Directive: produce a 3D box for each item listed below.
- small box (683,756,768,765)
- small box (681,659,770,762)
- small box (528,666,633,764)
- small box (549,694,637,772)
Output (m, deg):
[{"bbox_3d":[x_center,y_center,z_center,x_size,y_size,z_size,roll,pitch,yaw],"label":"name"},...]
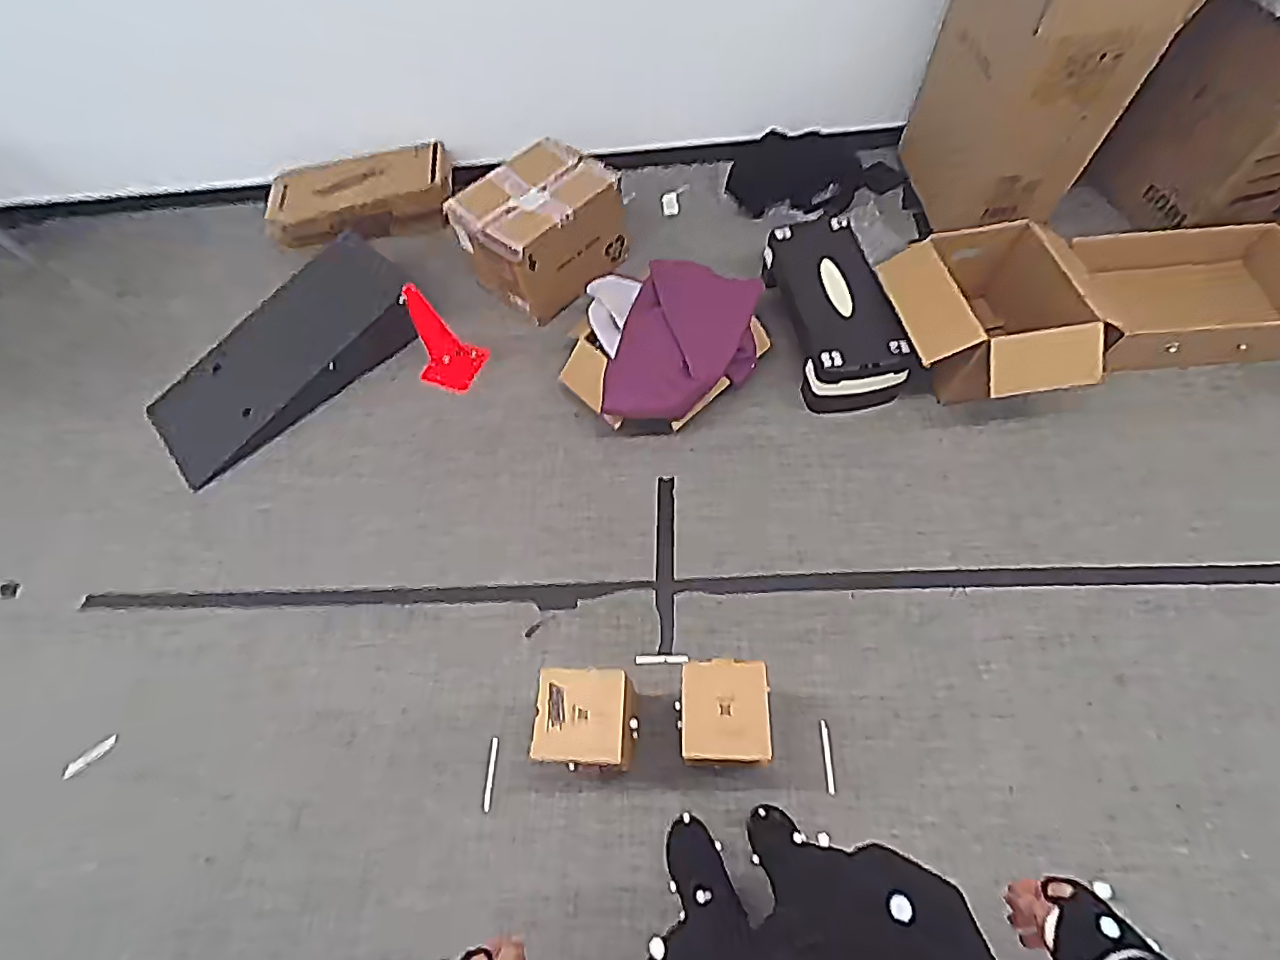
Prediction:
[{"bbox_3d":[0.185,0.555,1.232,0.179,0.176,0.168,-2,62,4],"label":"small box"},{"bbox_3d":[0.166,0.469,1.094,0.168,0.176,0.179,-1,63,6],"label":"small box"},{"bbox_3d":[-0.113,0.486,1.110,0.179,0.176,0.168,0,62,6],"label":"small box"},{"bbox_3d":[-0.100,0.570,1.252,0.168,0.176,0.179,0,62,7],"label":"small box"}]
